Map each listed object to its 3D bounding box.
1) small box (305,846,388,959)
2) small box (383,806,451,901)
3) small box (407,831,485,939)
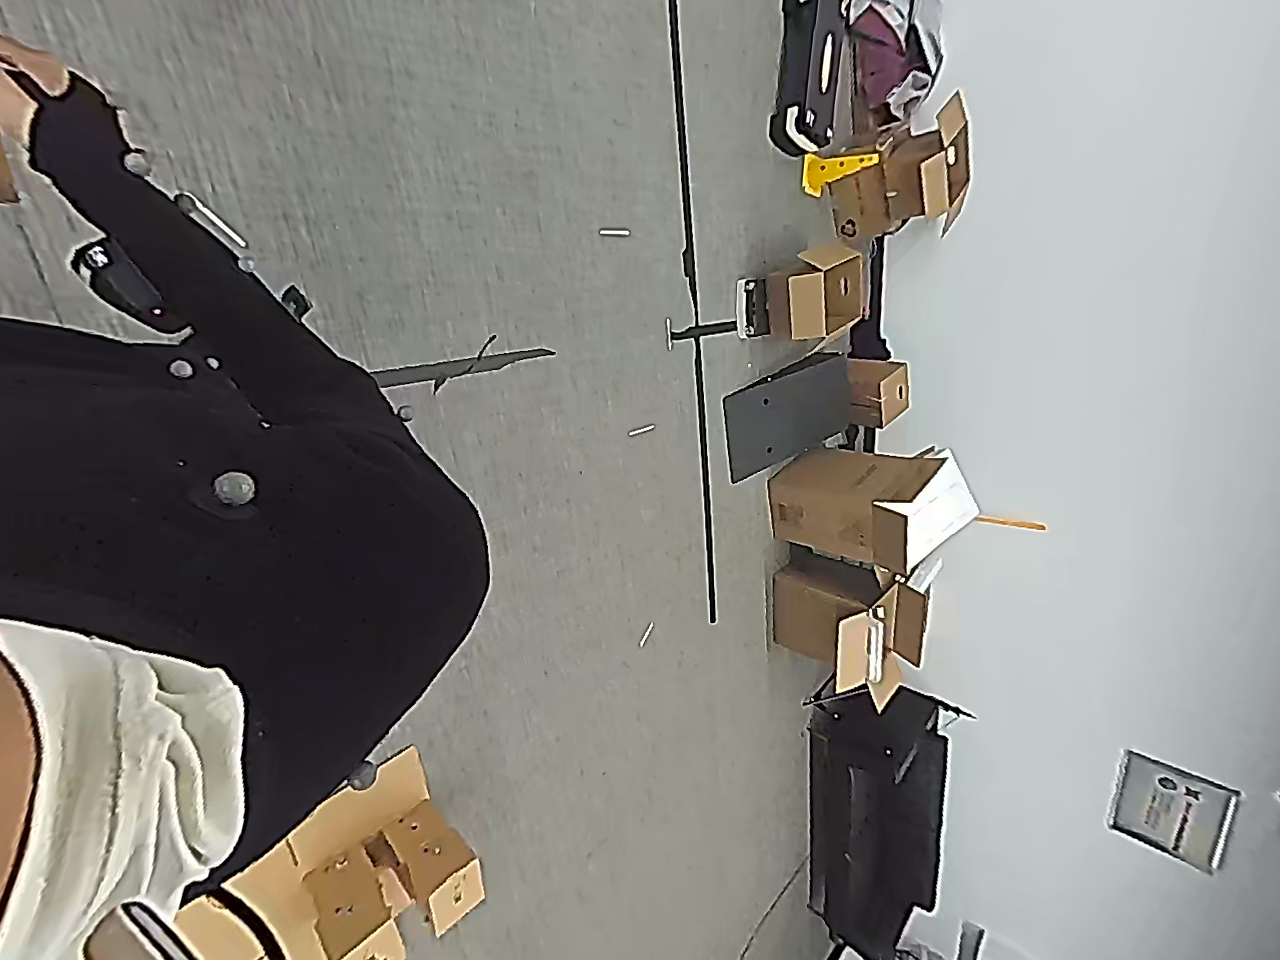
[{"bbox_3d":[-0.902,1.286,1.660,0.168,0.176,0.179,-18,112,-42],"label":"small box"},{"bbox_3d":[-0.739,1.240,1.816,0.168,0.176,0.179,-20,113,-42],"label":"small box"},{"bbox_3d":[-0.614,1.271,1.712,0.168,0.176,0.179,-19,113,-43],"label":"small box"}]
